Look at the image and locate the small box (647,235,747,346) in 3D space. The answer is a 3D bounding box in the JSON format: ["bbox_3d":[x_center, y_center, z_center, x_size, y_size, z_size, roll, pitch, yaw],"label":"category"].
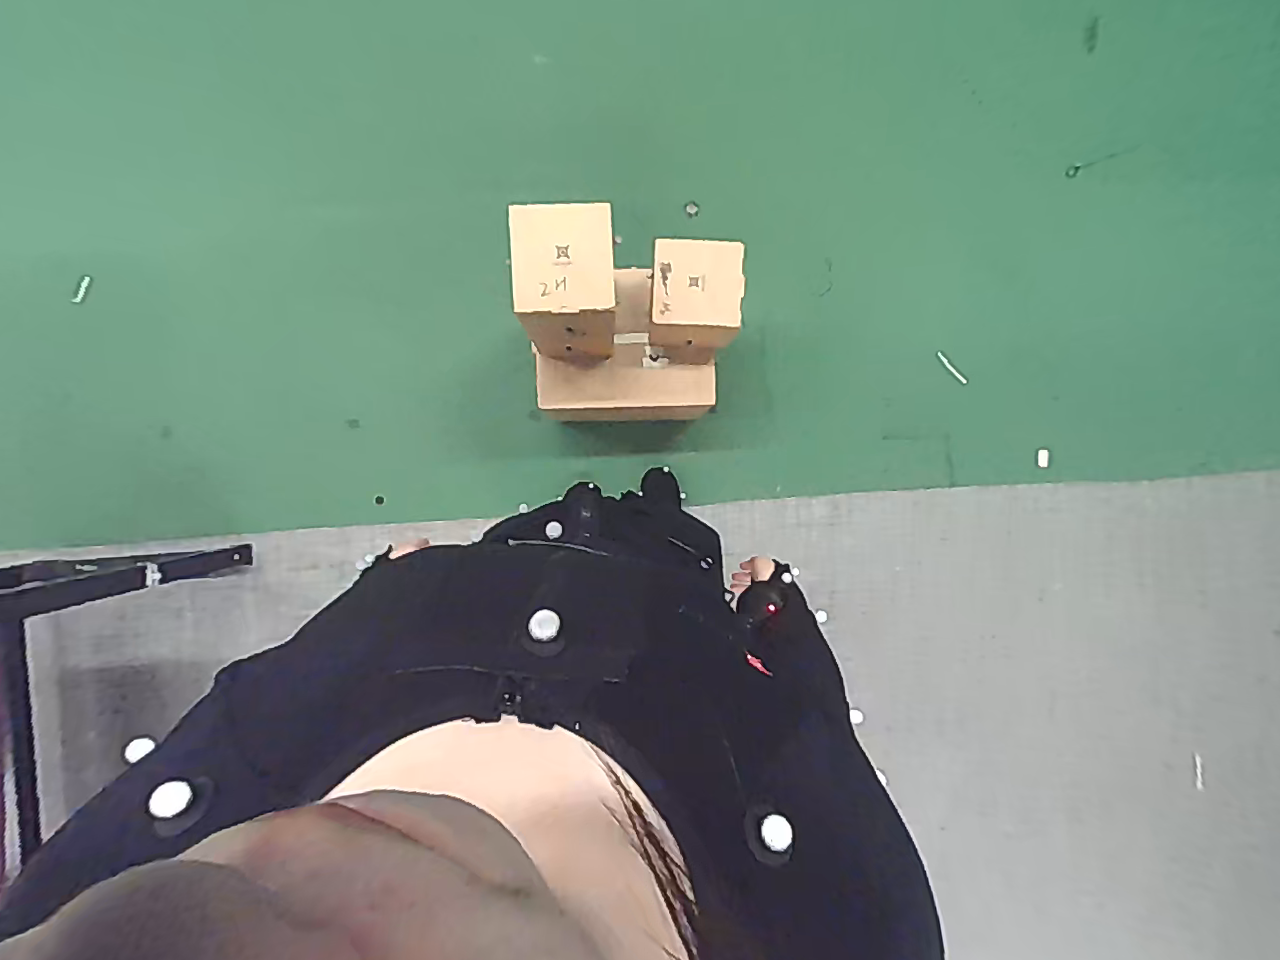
[{"bbox_3d":[0.110,-0.379,1.109,0.179,0.176,0.168,3,90,-2],"label":"small box"}]

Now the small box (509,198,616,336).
[{"bbox_3d":[-0.128,-0.360,0.939,0.168,0.176,0.179,-3,91,-2],"label":"small box"}]

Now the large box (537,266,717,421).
[{"bbox_3d":[-0.040,-0.322,1.350,0.408,0.320,0.320,-2,92,-3],"label":"large box"}]

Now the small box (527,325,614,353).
[{"bbox_3d":[-0.138,-0.365,1.103,0.168,0.176,0.179,-2,91,-3],"label":"small box"}]
